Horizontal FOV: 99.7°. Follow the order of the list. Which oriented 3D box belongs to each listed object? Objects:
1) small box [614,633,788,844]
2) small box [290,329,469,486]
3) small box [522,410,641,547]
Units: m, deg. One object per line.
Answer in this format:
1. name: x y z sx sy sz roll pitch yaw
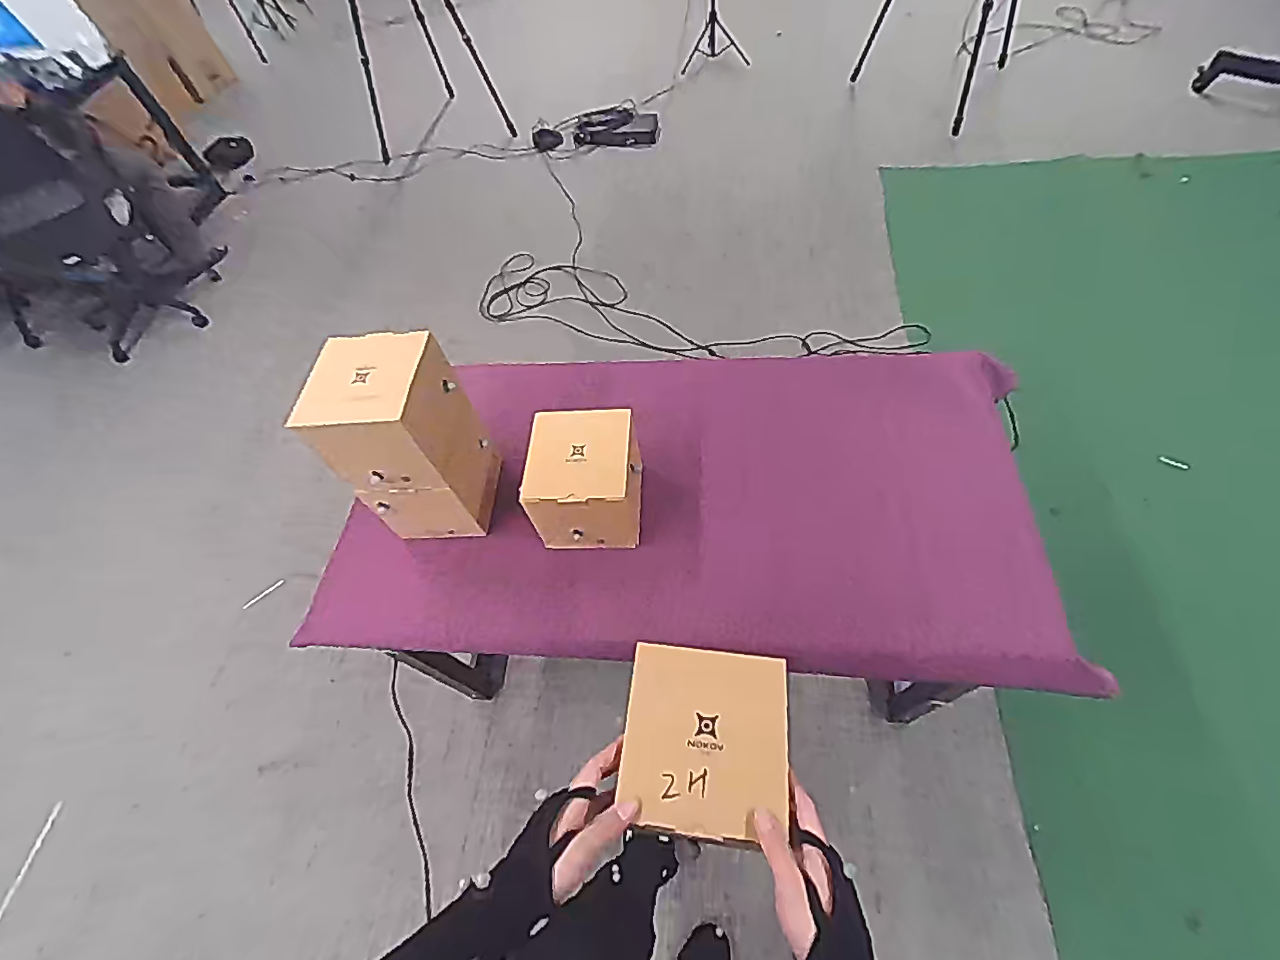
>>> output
1. small box: 0.071 0.297 0.618 0.168 0.176 0.179 5 56 8
2. small box: -0.381 -0.107 0.831 0.168 0.176 0.179 -1 57 6
3. small box: -0.088 -0.001 0.928 0.168 0.176 0.179 -1 58 6
